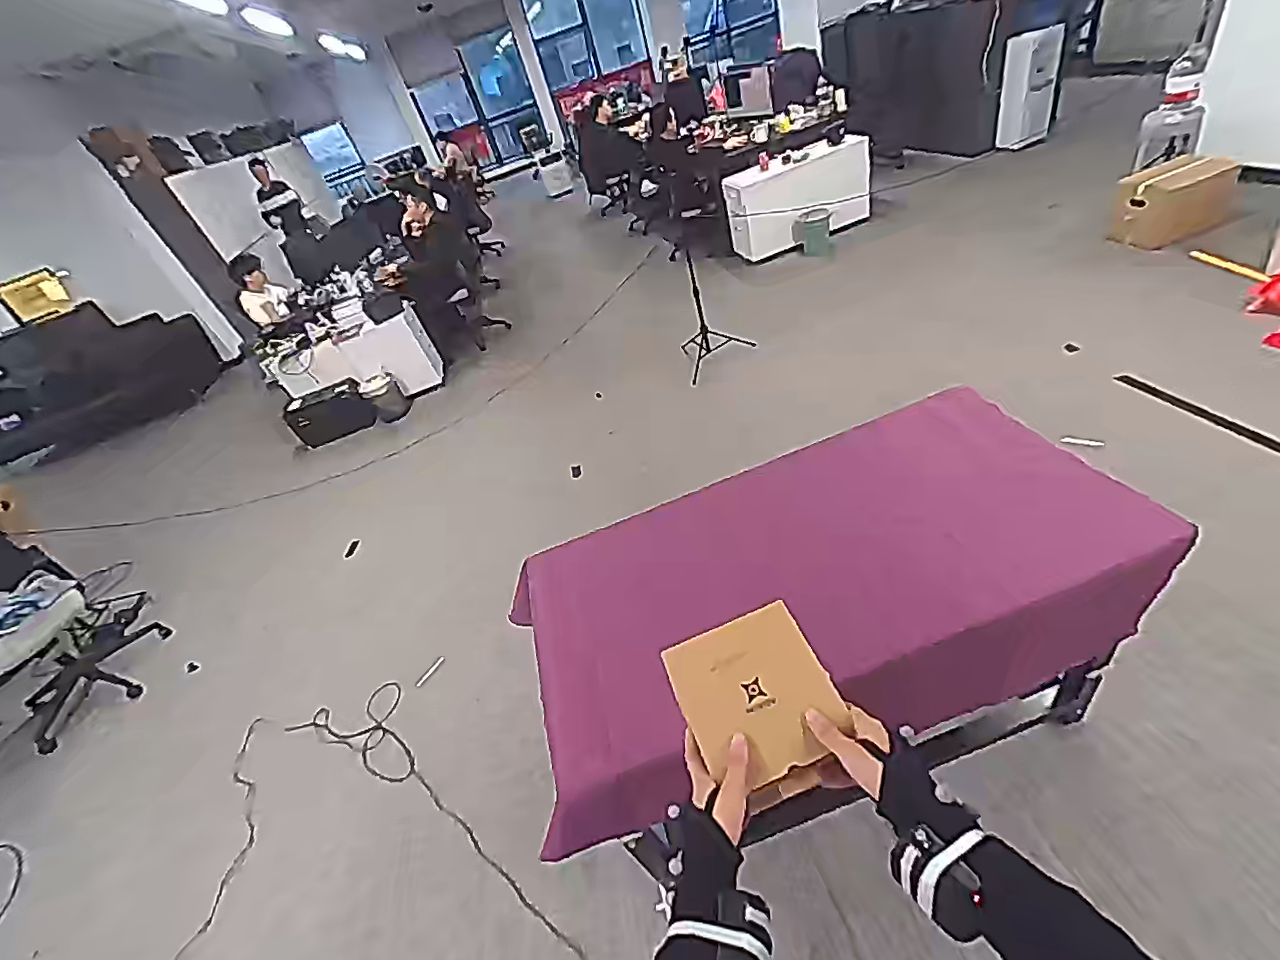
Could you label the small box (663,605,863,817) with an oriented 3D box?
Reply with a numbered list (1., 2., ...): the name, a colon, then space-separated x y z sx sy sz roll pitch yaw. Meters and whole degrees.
1. small box: 0.143 0.289 0.664 0.168 0.176 0.179 -21 51 -6
